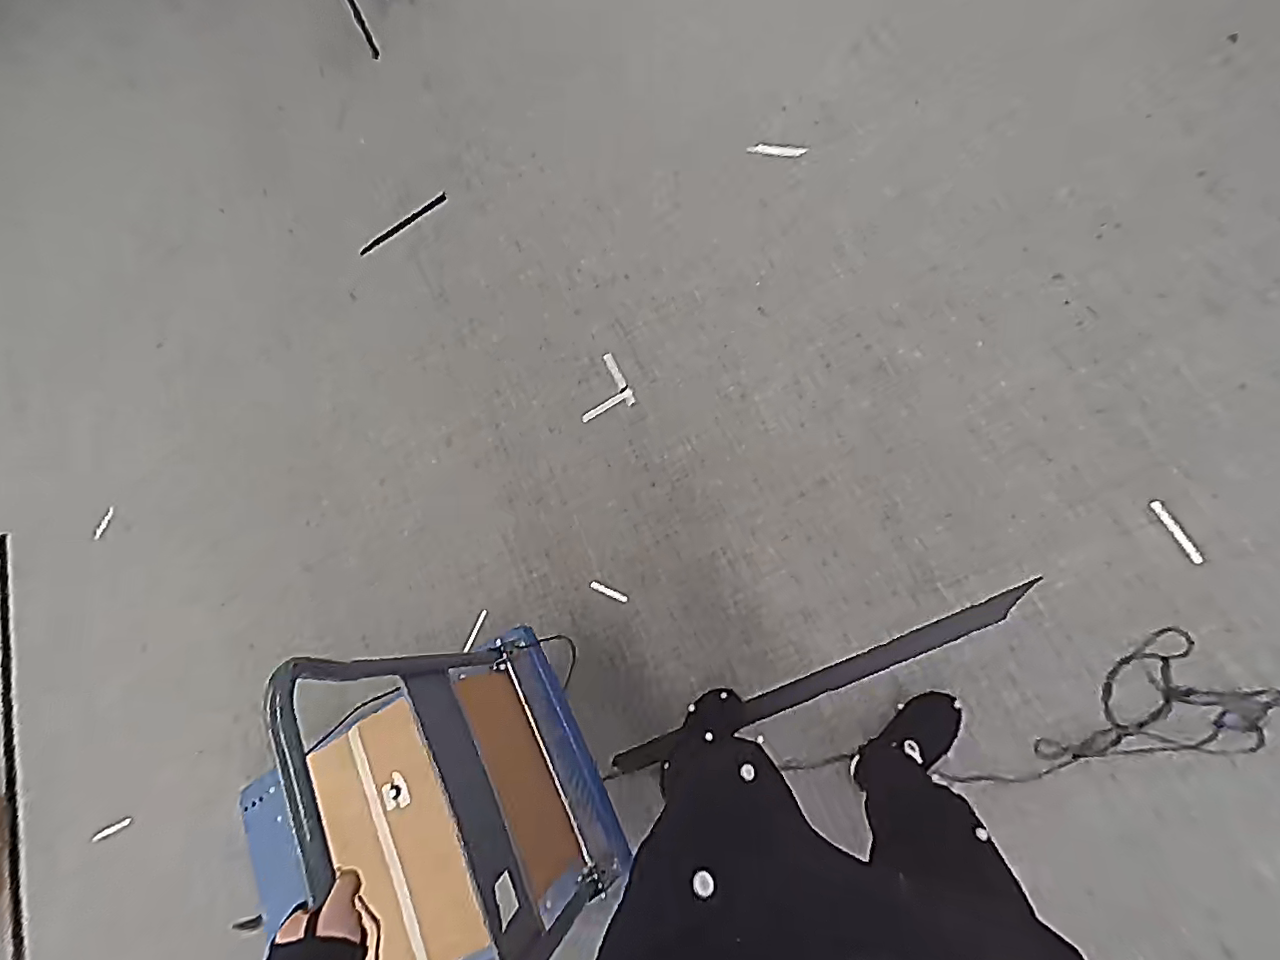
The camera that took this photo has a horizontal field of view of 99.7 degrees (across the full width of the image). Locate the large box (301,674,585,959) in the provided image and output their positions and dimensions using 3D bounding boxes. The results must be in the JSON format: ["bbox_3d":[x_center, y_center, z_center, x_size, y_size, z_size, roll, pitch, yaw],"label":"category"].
[{"bbox_3d":[-0.369,0.649,1.058,0.320,0.320,0.408,-32,70,6],"label":"large box"}]
